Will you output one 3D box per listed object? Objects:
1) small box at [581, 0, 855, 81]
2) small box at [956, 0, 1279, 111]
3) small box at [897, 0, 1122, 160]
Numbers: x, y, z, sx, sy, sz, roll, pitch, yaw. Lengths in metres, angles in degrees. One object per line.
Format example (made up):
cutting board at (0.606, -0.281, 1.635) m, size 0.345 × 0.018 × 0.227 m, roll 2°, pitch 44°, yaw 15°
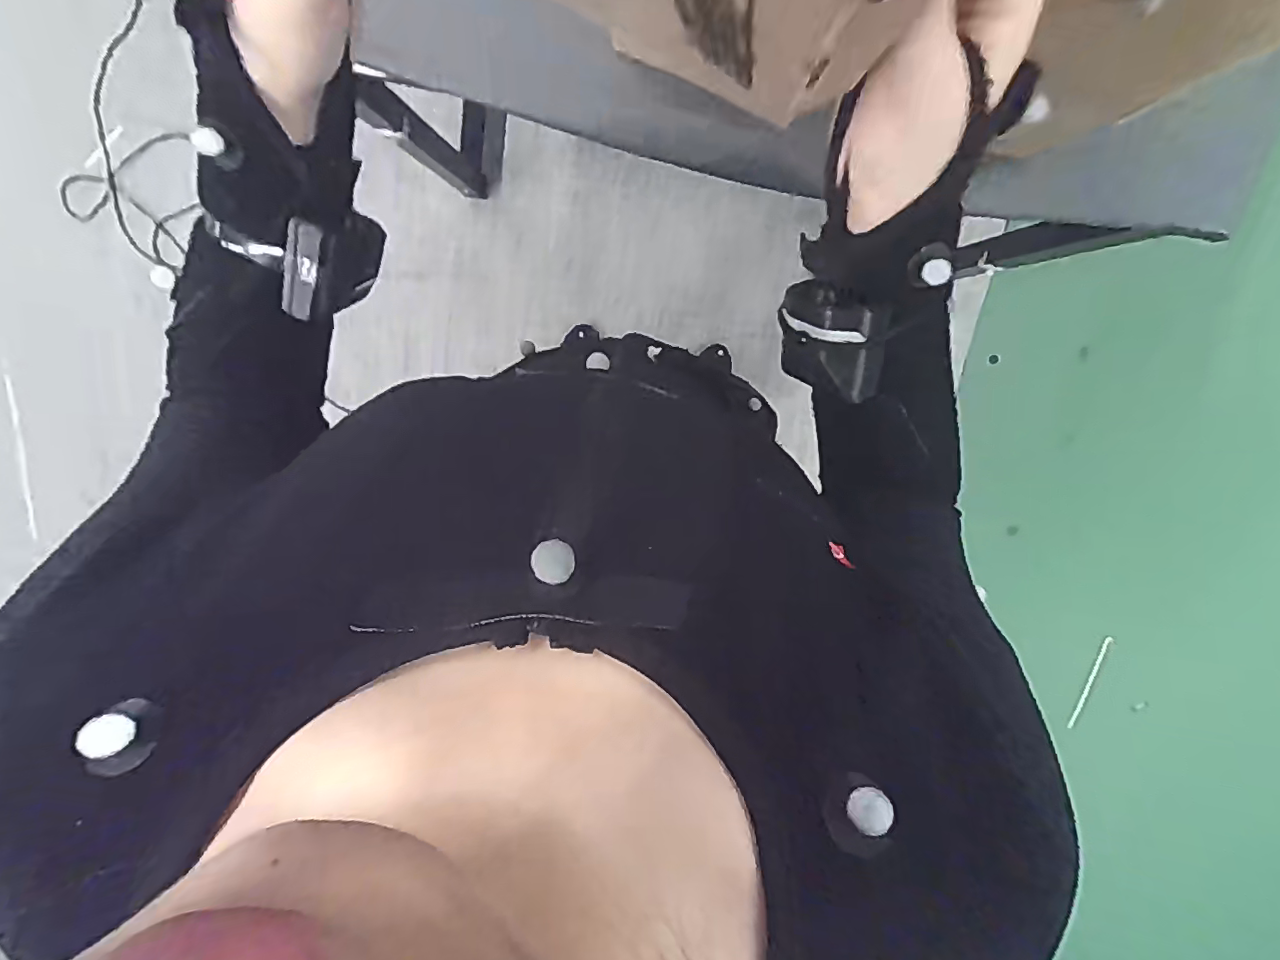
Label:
small box at (0.014, -0.252, 0.142) m, size 0.179 × 0.168 × 0.176 m, roll 22°, pitch 114°, yaw 0°
small box at (0.376, -0.401, 0.379) m, size 0.179 × 0.176 × 0.168 m, roll 22°, pitch 103°, yaw -2°
small box at (0.384, -0.453, 0.533) m, size 0.168 × 0.176 × 0.179 m, roll 12°, pitch 104°, yaw 0°
